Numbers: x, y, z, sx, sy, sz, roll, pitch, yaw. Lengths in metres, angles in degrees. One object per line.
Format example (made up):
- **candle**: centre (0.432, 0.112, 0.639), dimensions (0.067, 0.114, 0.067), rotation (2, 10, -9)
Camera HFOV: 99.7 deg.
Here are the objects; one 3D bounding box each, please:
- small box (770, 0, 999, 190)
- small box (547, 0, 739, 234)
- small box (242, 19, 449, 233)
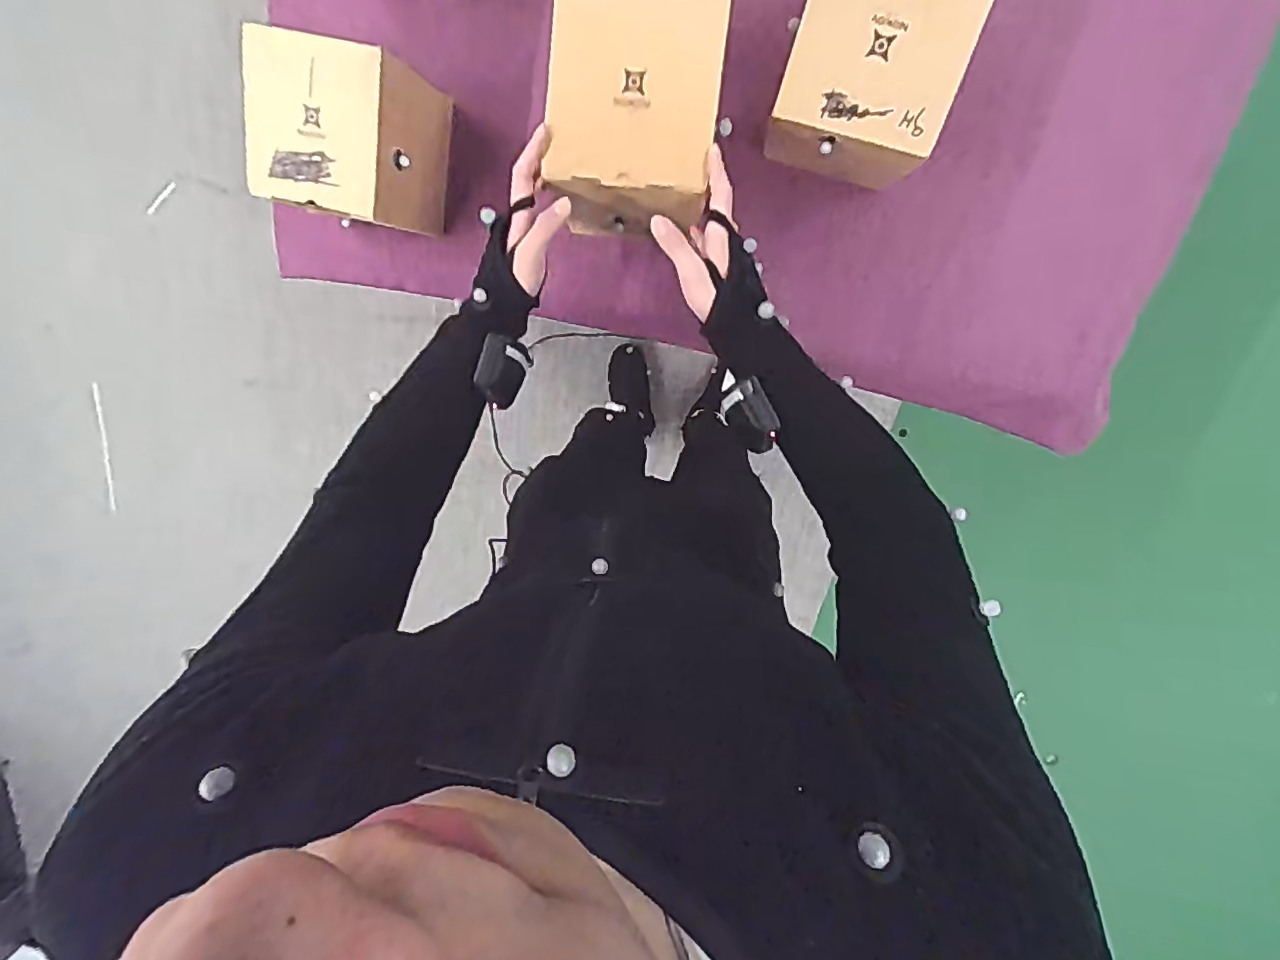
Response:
- **small box**: centre (0.249, -0.446, 0.591), dimensions (0.168, 0.176, 0.179), rotation (17, 109, 3)
- **small box**: centre (0.003, -0.389, 0.586), dimensions (0.168, 0.176, 0.179), rotation (7, 100, 2)
- **small box**: centre (-0.360, -0.428, 0.686), dimensions (0.168, 0.176, 0.179), rotation (14, 109, 3)
